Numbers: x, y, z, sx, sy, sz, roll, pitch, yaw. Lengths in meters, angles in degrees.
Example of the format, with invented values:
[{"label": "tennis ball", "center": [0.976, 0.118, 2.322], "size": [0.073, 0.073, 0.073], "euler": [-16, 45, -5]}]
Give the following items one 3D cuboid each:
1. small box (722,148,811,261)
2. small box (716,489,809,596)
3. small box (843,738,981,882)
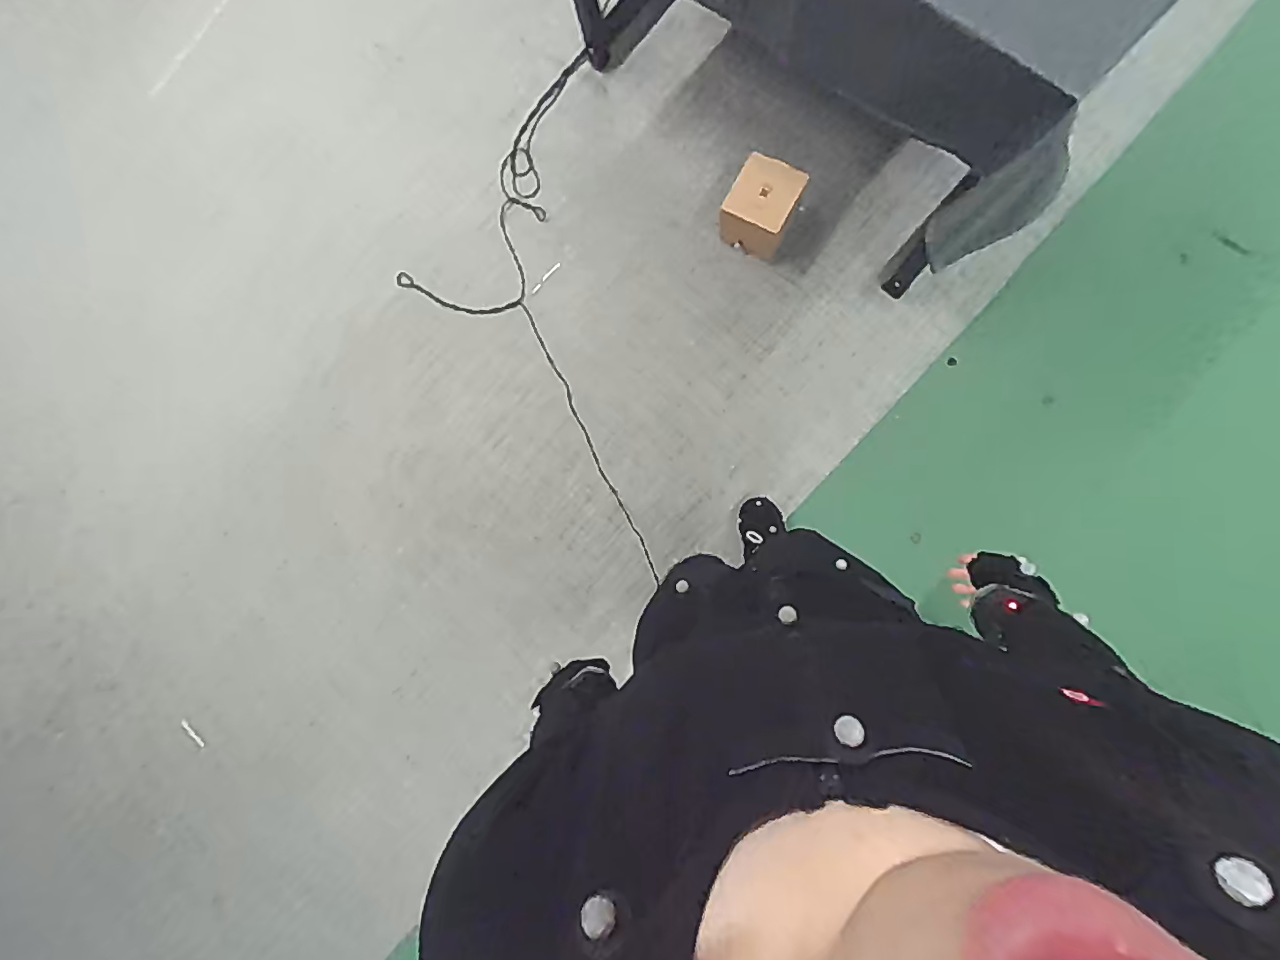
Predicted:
[{"label": "small box", "center": [0.329, -0.731, 1.451], "size": [0.168, 0.176, 0.179], "euler": [30, 90, 9]}, {"label": "small box", "center": [0.316, 0.162, 1.396], "size": [0.168, 0.176, 0.179], "euler": [29, 63, 33]}, {"label": "small box", "center": [0.568, 0.689, 1.161], "size": [0.179, 0.176, 0.168], "euler": [44, 93, 7]}]
